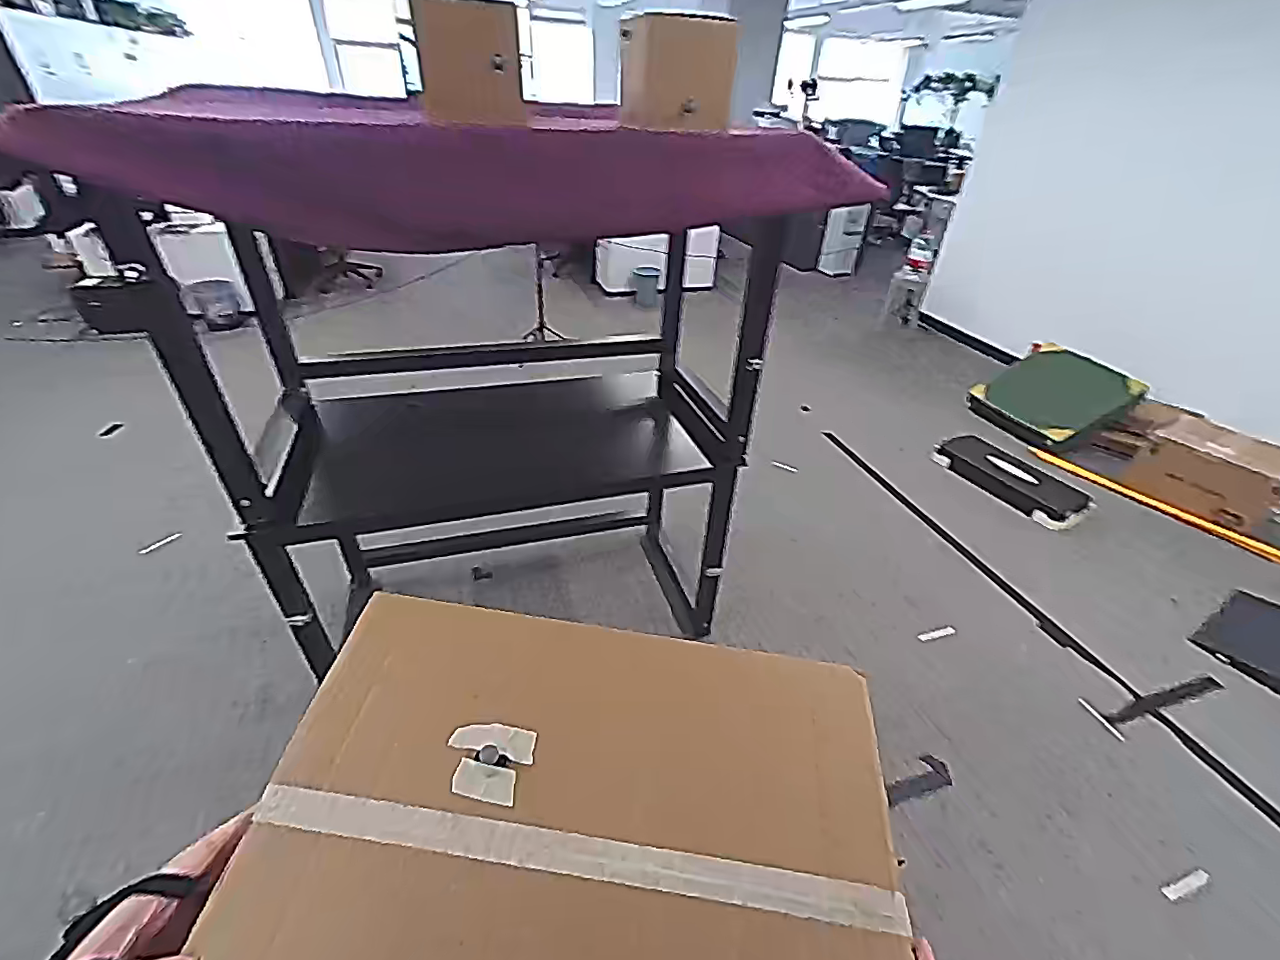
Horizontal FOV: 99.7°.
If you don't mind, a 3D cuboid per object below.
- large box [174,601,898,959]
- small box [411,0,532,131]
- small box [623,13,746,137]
[{"bbox_3d":[-0.051,0.331,0.442,0.408,0.320,0.320,7,47,3],"label":"large box"},{"bbox_3d":[-0.285,-0.711,0.938,0.179,0.176,0.168,-8,36,-14],"label":"small box"},{"bbox_3d":[0.073,-0.746,1.009,0.179,0.176,0.168,-9,36,-17],"label":"small box"}]
